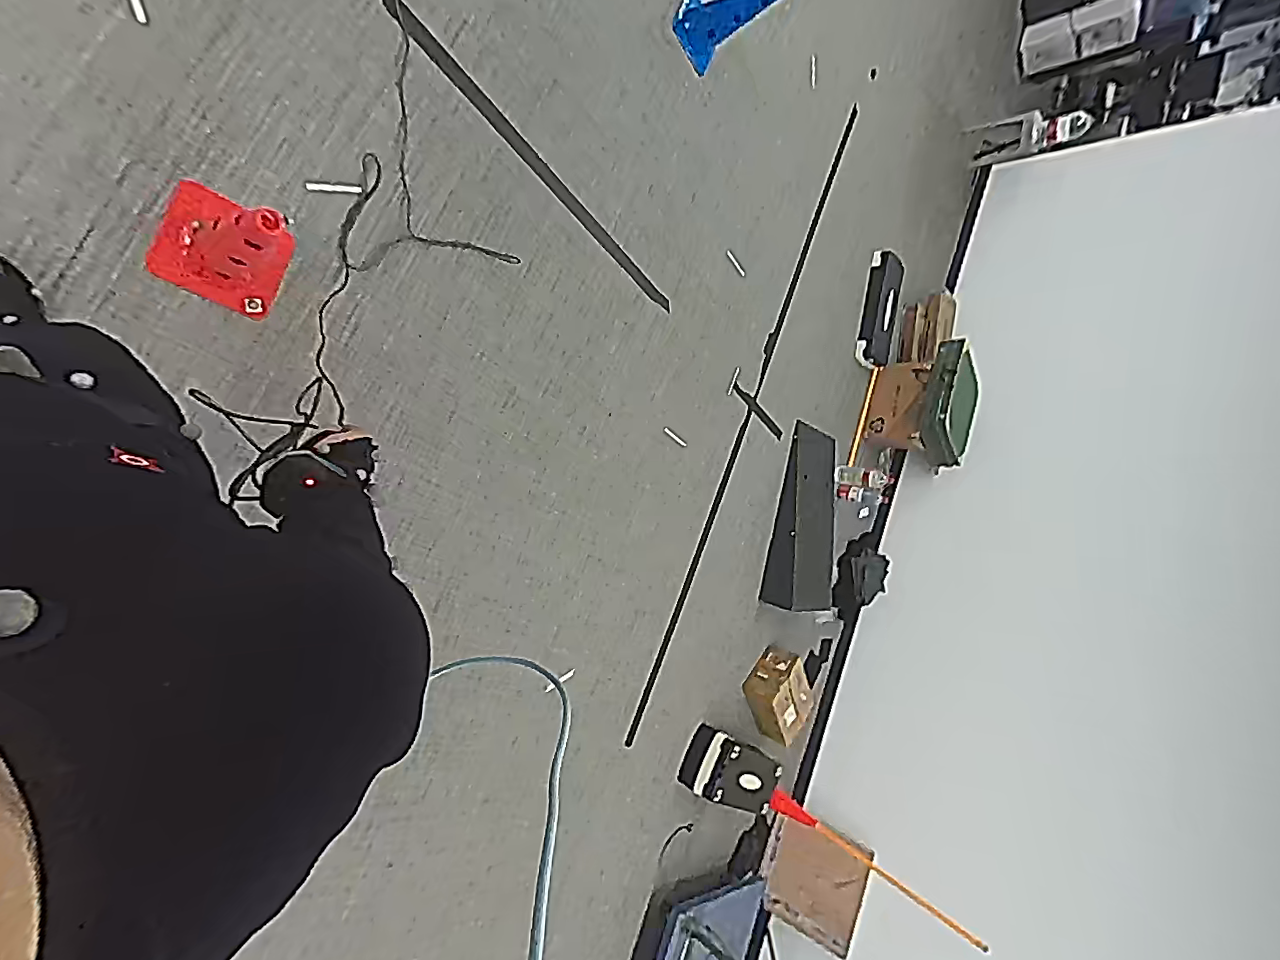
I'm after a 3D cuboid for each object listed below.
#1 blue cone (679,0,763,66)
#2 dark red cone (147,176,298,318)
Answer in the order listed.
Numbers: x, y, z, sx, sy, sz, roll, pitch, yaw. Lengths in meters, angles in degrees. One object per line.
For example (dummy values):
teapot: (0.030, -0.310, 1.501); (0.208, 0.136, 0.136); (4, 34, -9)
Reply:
blue cone: (0.327, -1.576, 1.796); (0.193, 0.380, 0.192); (34, 72, -45)
dark red cone: (-0.679, -0.421, 0.929); (0.202, 0.394, 0.201); (23, 81, -47)
